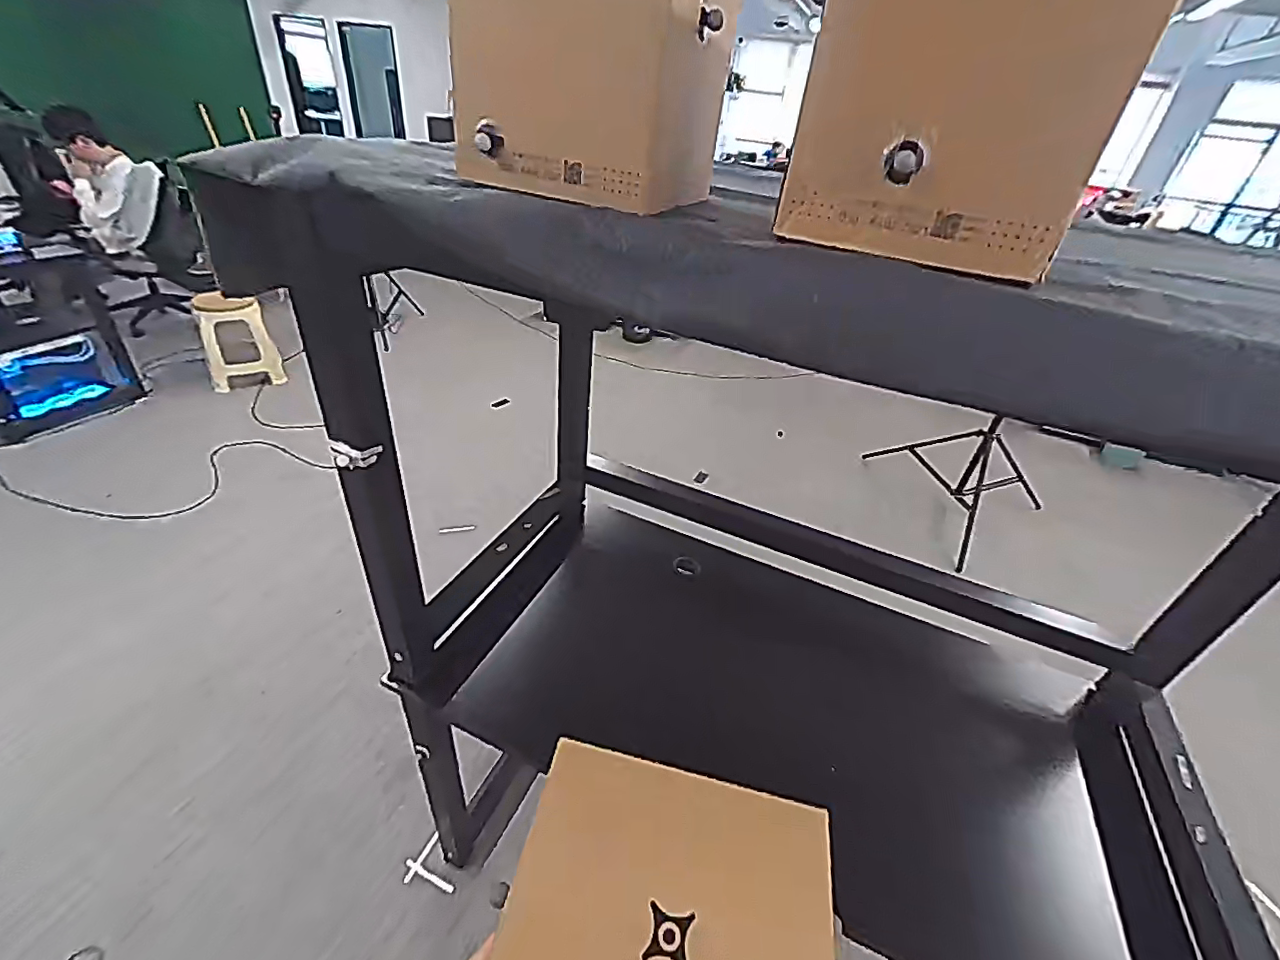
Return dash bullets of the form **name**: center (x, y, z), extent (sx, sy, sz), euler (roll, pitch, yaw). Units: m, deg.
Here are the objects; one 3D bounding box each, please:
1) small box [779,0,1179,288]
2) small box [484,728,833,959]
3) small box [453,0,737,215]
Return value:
- **small box**: center (0.206, -0.245, 0.372), extent (0.168, 0.176, 0.179), euler (18, 34, 16)
- **small box**: center (0.004, 0.284, 0.315), extent (0.168, 0.176, 0.179), euler (12, 42, 7)
- **small box**: center (-0.030, -0.321, 0.437), extent (0.168, 0.176, 0.179), euler (18, 34, 13)
